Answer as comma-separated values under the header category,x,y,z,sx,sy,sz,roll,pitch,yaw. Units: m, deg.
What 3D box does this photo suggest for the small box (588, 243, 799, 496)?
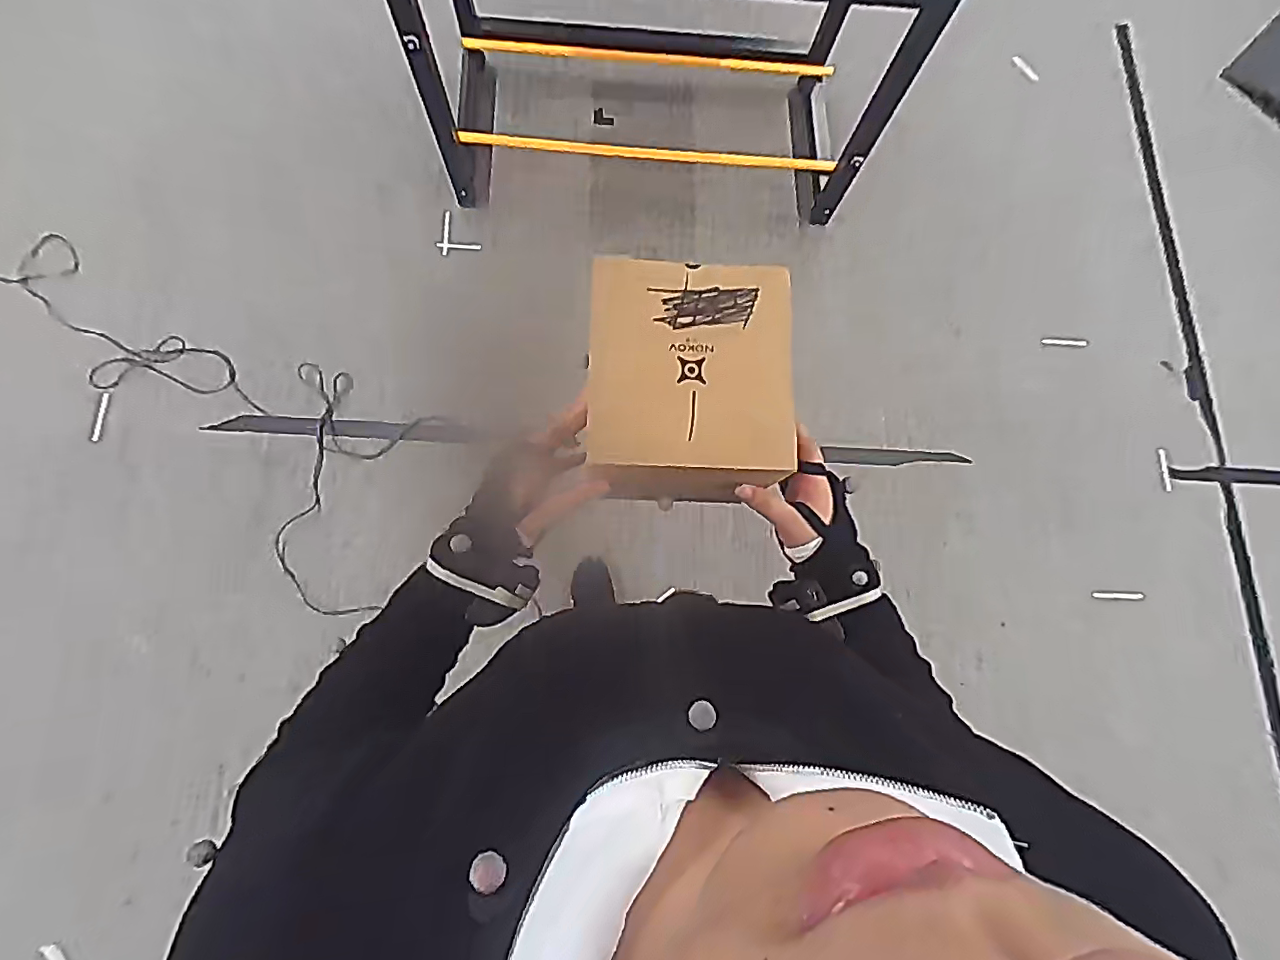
category,x,y,z,sx,sy,sz,roll,pitch,yaw
small box,0.037,-0.088,0.504,0.168,0.176,0.179,2,79,-4
